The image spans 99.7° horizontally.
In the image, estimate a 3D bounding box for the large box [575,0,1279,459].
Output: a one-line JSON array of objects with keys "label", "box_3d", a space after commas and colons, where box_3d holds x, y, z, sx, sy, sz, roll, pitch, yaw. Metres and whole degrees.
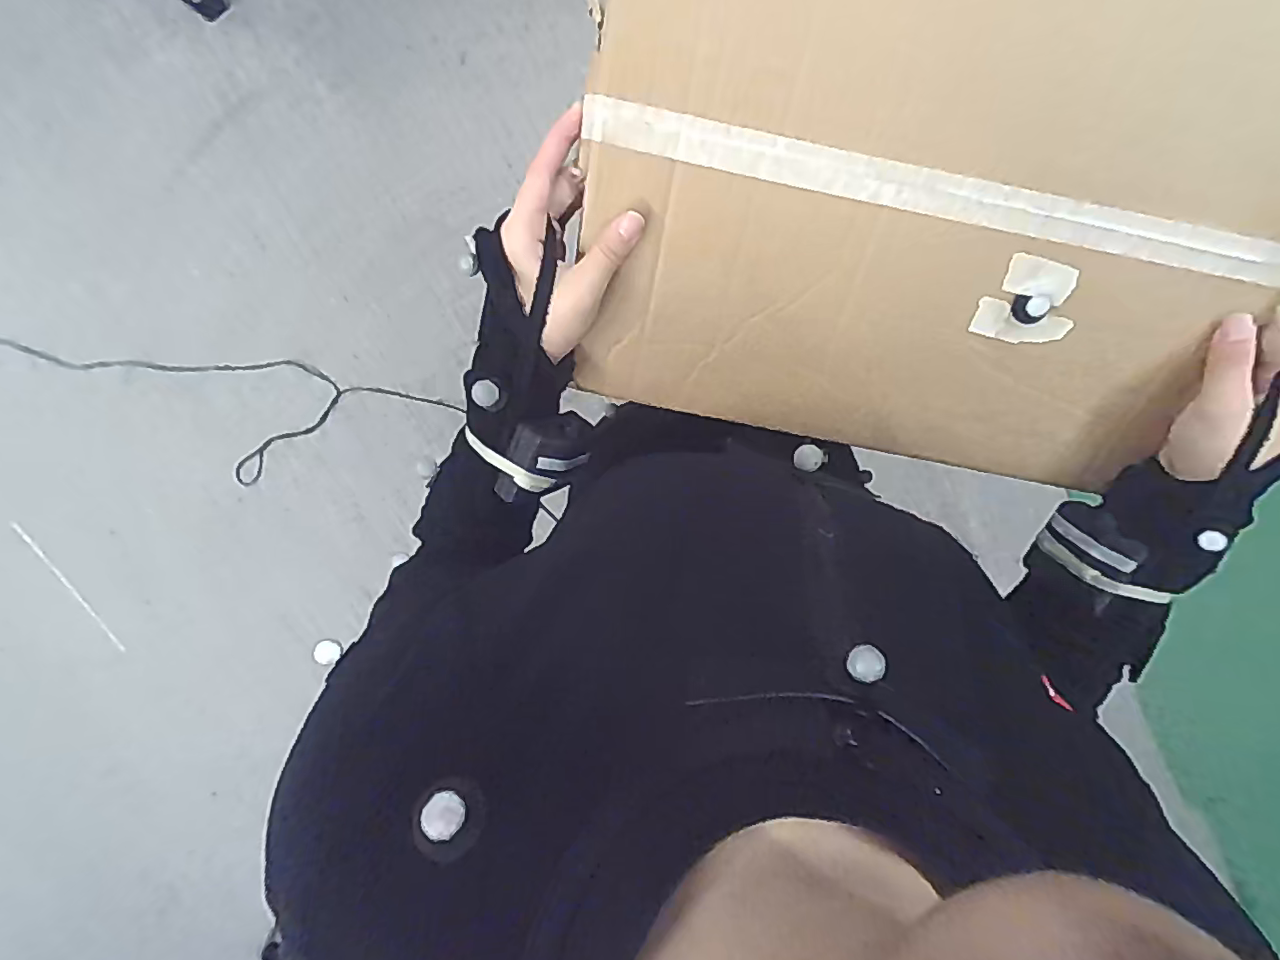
[{"label": "large box", "box_3d": [0.175, -0.245, 0.437, 0.408, 0.320, 0.320, 9, 120, -3]}]
